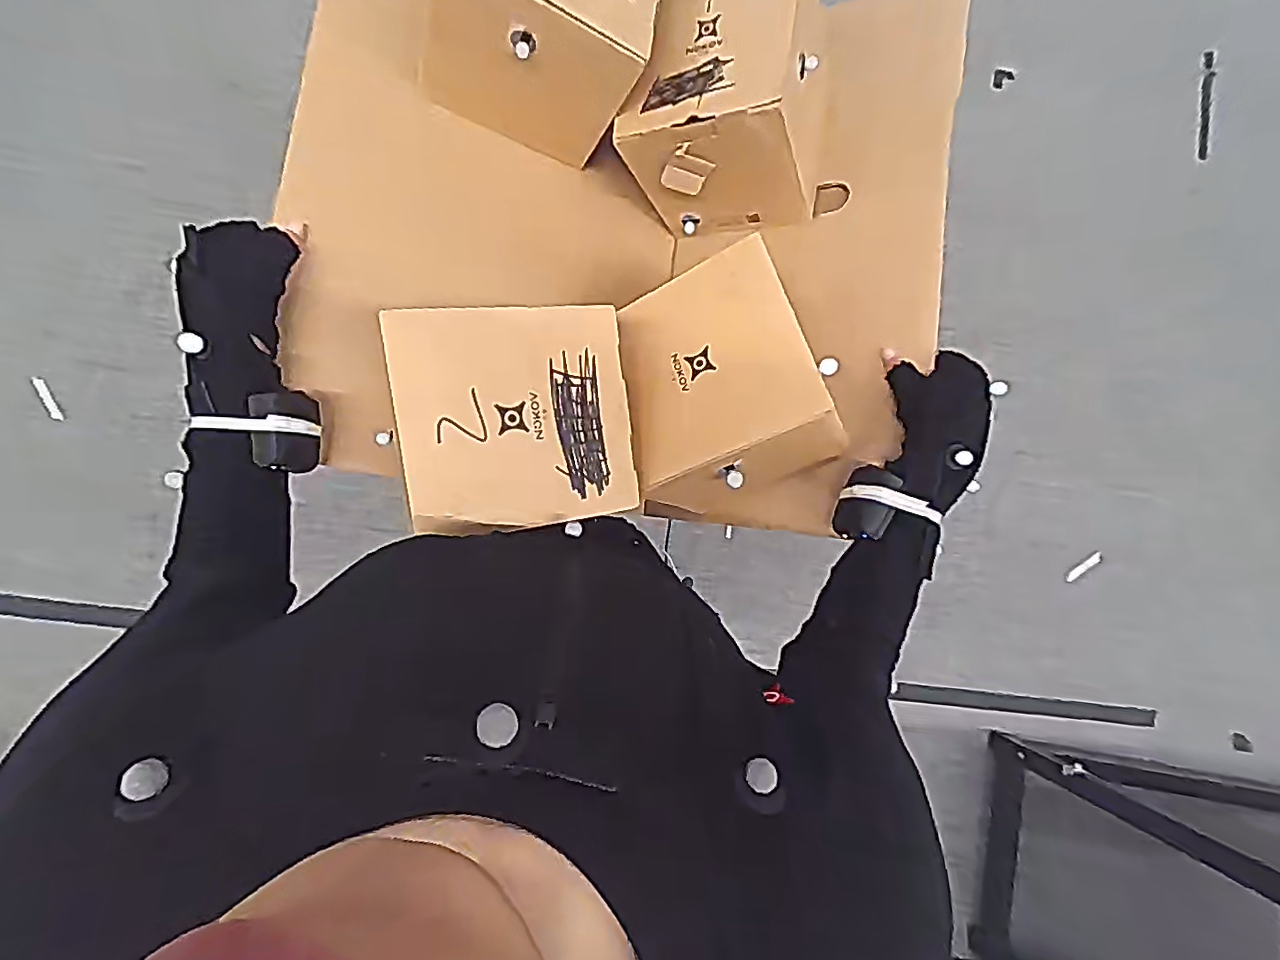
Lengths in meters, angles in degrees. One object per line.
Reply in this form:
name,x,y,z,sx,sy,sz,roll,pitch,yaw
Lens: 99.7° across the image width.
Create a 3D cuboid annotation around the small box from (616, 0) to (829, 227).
small box,0.097,-0.389,0.568,0.168,0.176,0.179,7,82,27
